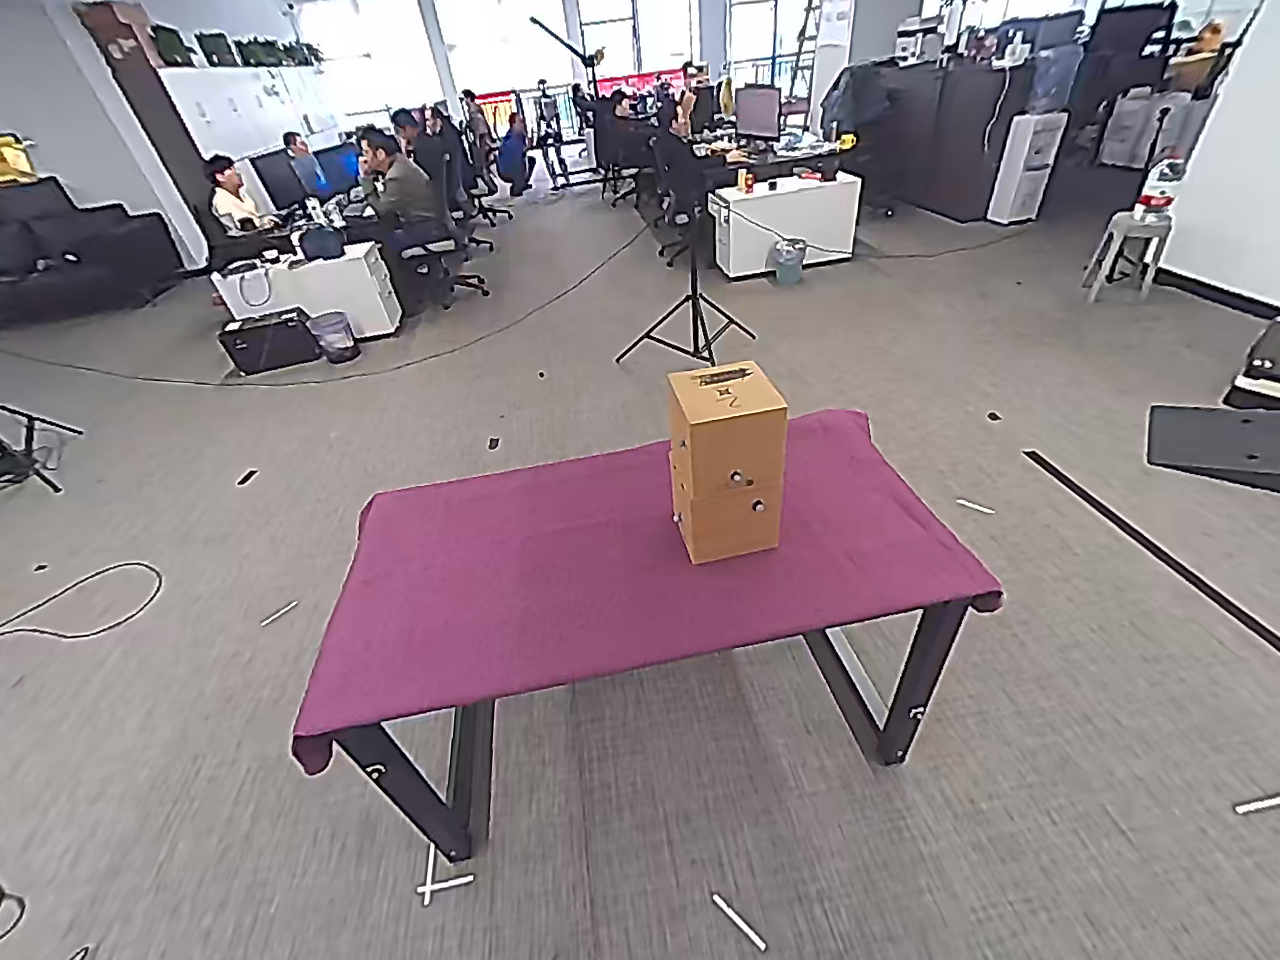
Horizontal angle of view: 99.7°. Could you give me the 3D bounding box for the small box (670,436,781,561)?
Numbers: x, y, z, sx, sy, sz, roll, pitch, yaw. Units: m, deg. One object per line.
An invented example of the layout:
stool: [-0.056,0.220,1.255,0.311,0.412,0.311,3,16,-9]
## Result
small box: [0.165,0.037,1.079,0.179,0.176,0.168,-12,38,-4]
